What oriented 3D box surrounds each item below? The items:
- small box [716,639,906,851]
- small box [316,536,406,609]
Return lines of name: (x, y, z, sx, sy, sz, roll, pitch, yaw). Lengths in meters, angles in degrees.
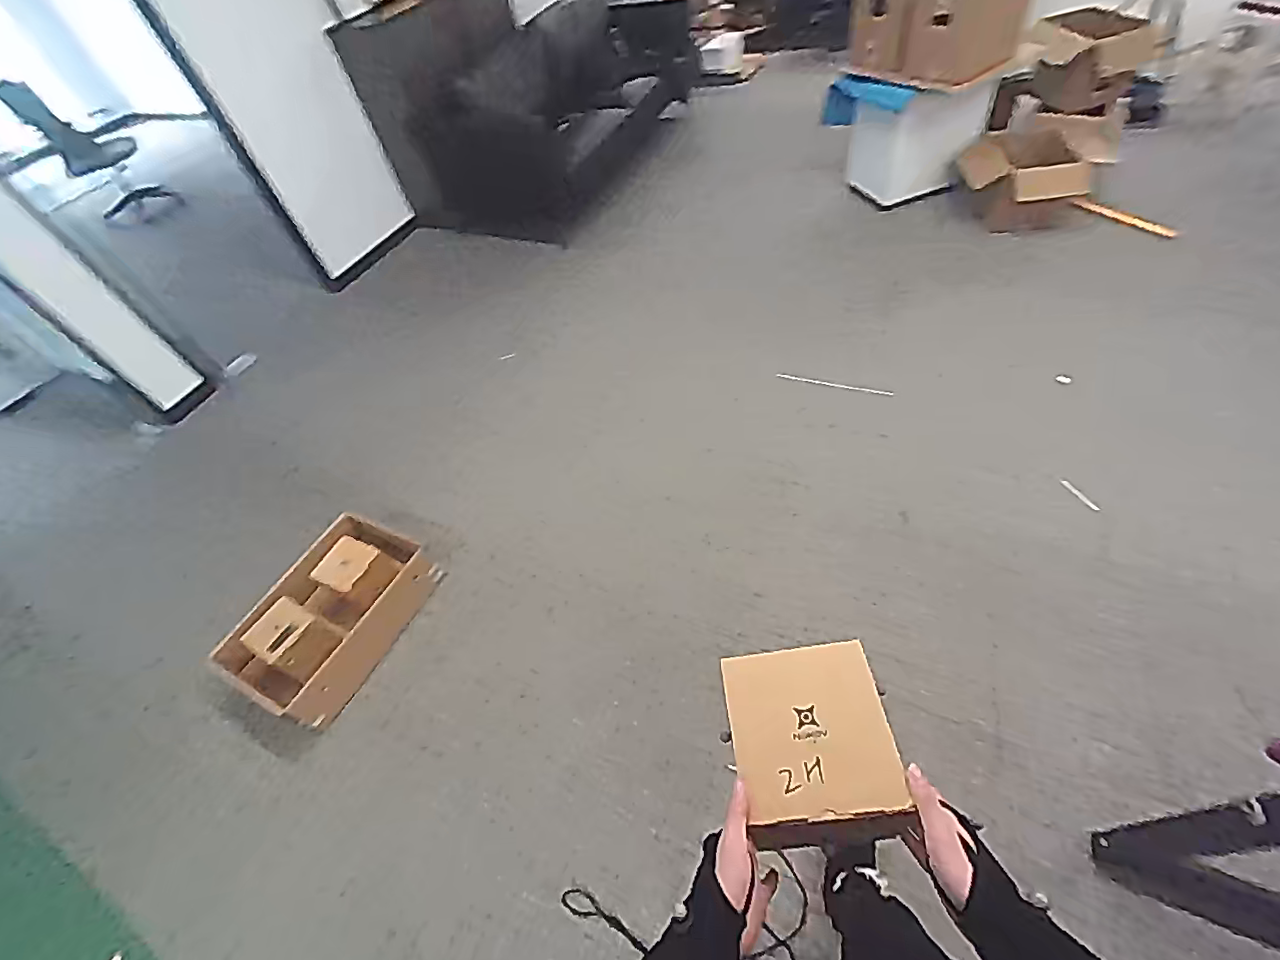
small box: (0.190, 0.316, 0.640, 0.168, 0.176, 0.179, -11, 46, 8)
small box: (-0.955, 0.323, 1.864, 0.179, 0.176, 0.168, 16, 57, 21)
